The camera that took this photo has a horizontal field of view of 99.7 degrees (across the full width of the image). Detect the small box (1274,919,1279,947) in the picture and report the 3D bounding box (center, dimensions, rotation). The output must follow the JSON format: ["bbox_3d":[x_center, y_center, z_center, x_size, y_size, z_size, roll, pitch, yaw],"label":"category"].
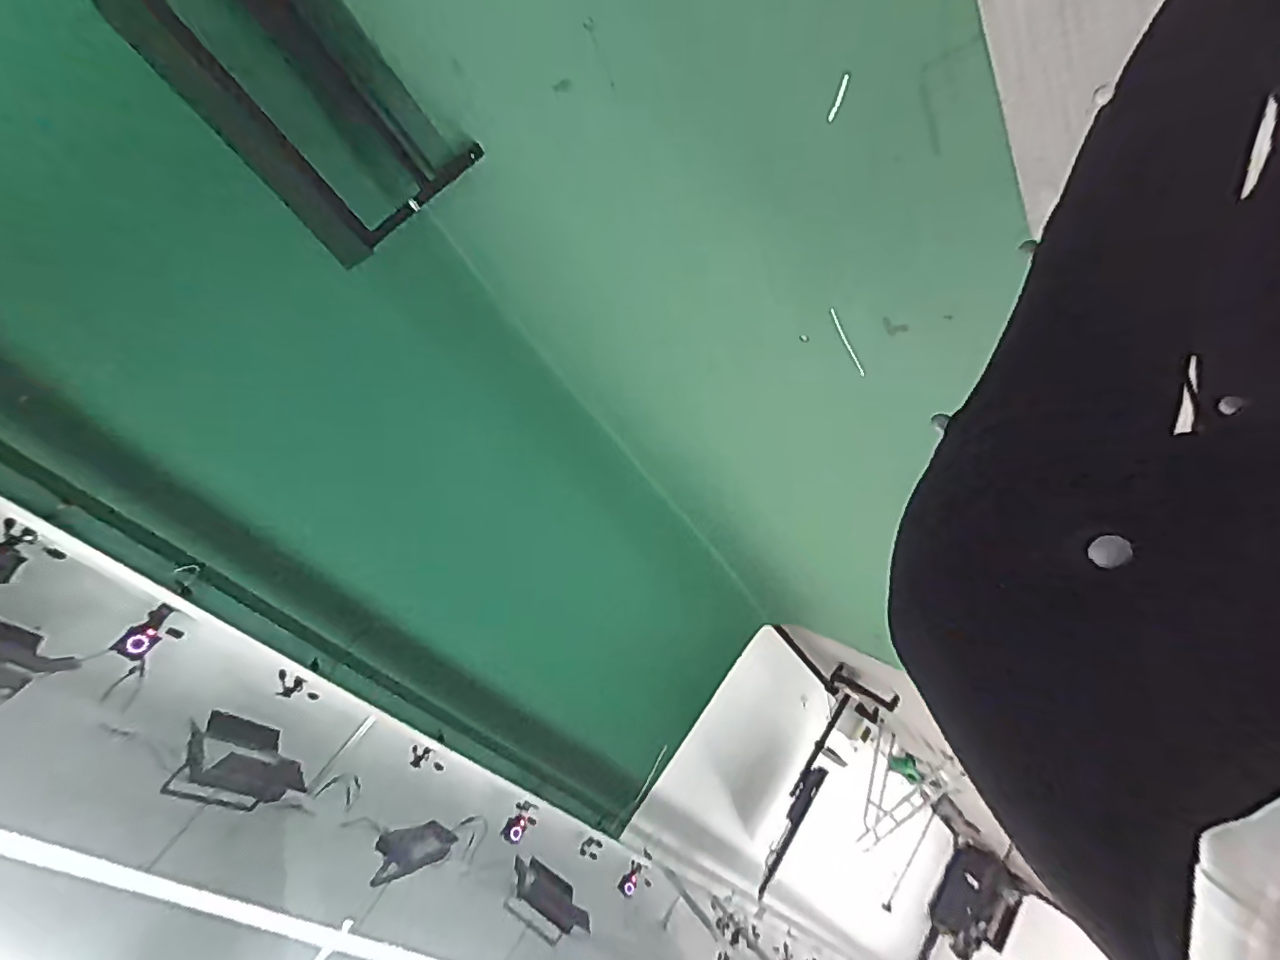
[{"bbox_3d":[1.849,1.215,1.448,0.179,0.176,0.168,49,161,-28],"label":"small box"}]
